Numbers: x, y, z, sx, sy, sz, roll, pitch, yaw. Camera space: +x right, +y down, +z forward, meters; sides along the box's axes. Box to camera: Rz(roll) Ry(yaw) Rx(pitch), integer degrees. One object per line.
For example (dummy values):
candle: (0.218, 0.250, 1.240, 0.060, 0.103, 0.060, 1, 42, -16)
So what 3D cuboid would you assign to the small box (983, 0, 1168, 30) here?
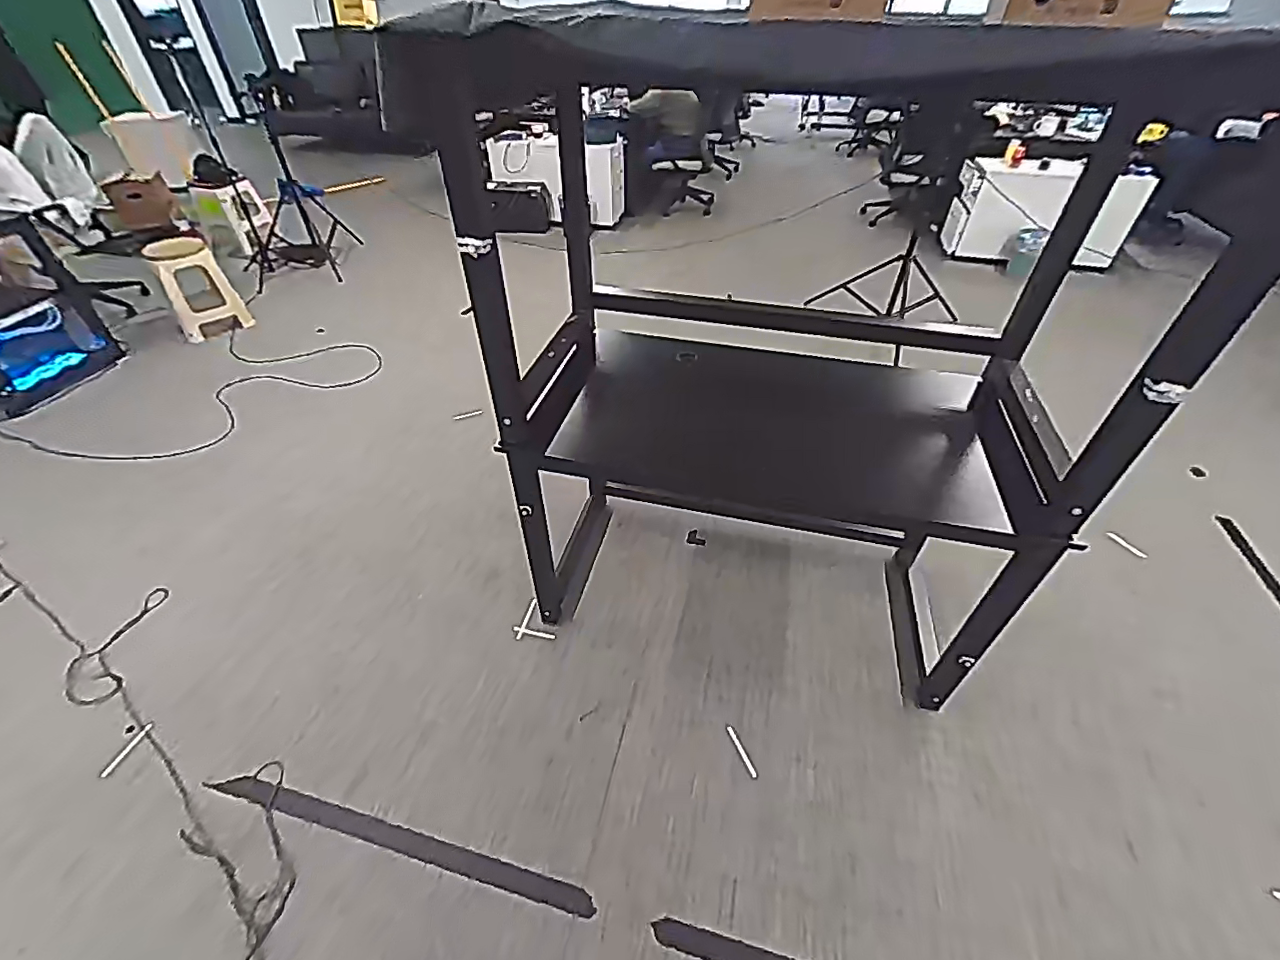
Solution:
small box: (0.529, -0.636, 0.628, 0.168, 0.176, 0.179, 12, 42, 14)

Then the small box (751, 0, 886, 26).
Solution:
small box: (0.237, -0.685, 0.679, 0.168, 0.176, 0.179, 9, 41, 11)
